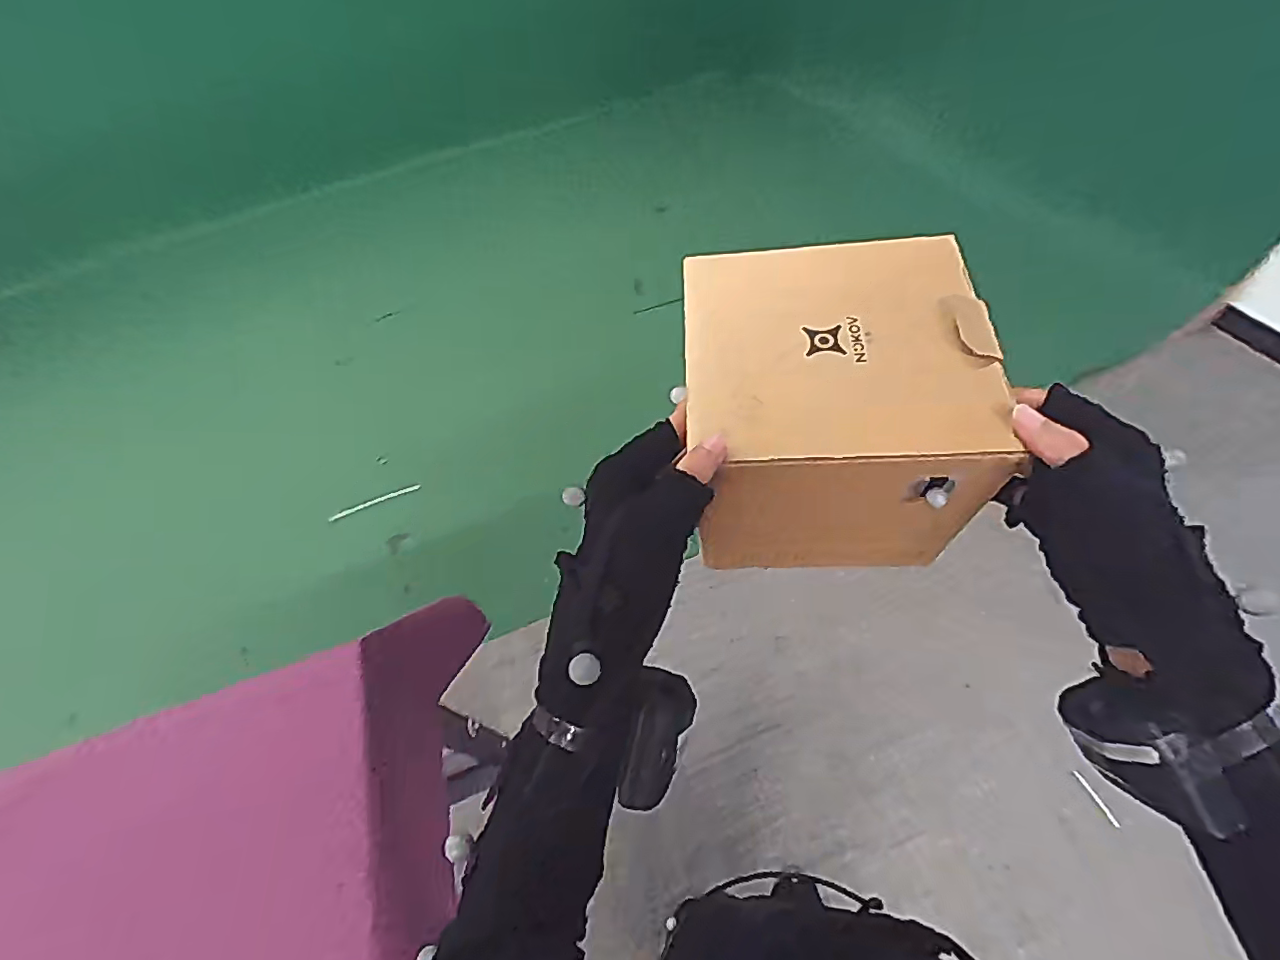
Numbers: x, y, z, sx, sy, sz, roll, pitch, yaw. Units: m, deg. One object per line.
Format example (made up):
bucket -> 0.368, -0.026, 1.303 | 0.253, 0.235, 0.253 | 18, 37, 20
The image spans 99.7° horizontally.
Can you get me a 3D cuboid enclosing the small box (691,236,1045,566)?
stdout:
small box -> 0.129, -0.042, 0.384 | 0.179, 0.176, 0.168 | -1, 61, 7
